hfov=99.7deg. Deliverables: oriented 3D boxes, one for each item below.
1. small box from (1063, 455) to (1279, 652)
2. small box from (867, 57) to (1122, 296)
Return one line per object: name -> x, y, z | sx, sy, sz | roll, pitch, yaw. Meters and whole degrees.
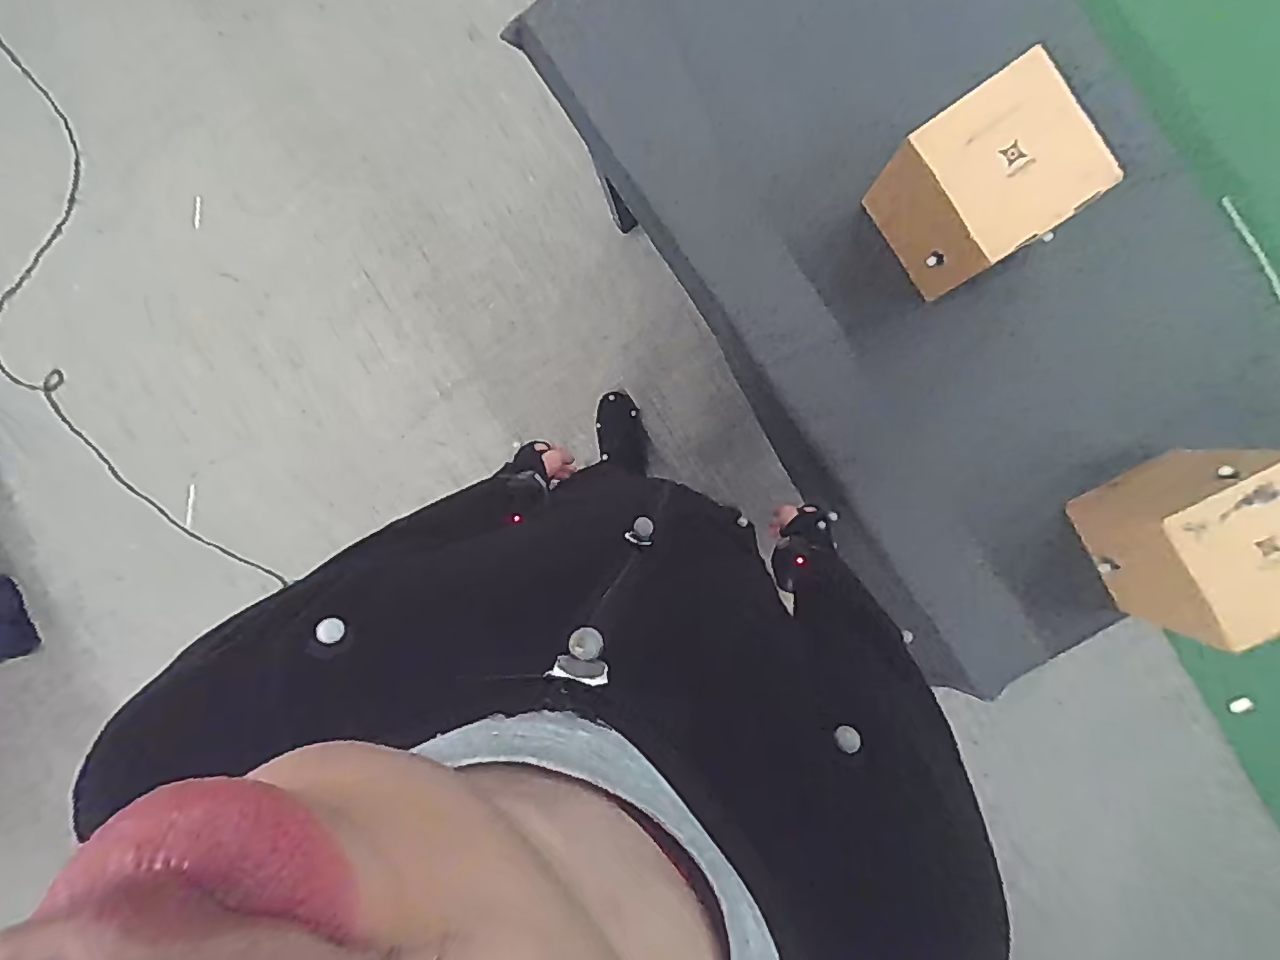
small box -> 0.705, 0.080, 0.690 | 0.168, 0.176, 0.179 | -29, 92, 6
small box -> 0.423, -0.354, 0.678 | 0.168, 0.176, 0.179 | -34, 90, 5
